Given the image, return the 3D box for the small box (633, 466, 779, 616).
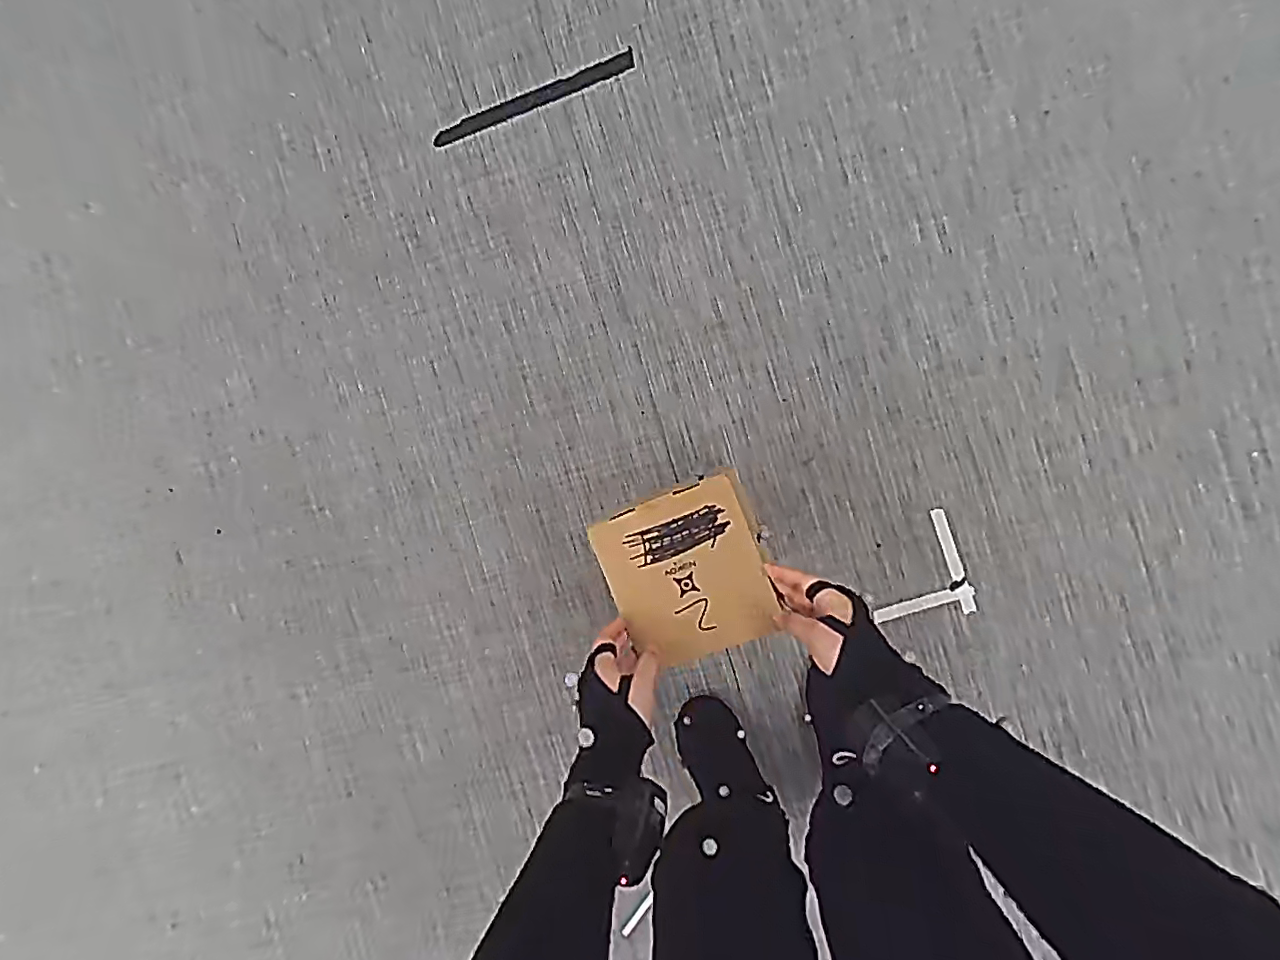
[{"bbox_3d":[0.097,0.085,0.828,0.168,0.176,0.179,-18,90,7],"label":"small box"}]
